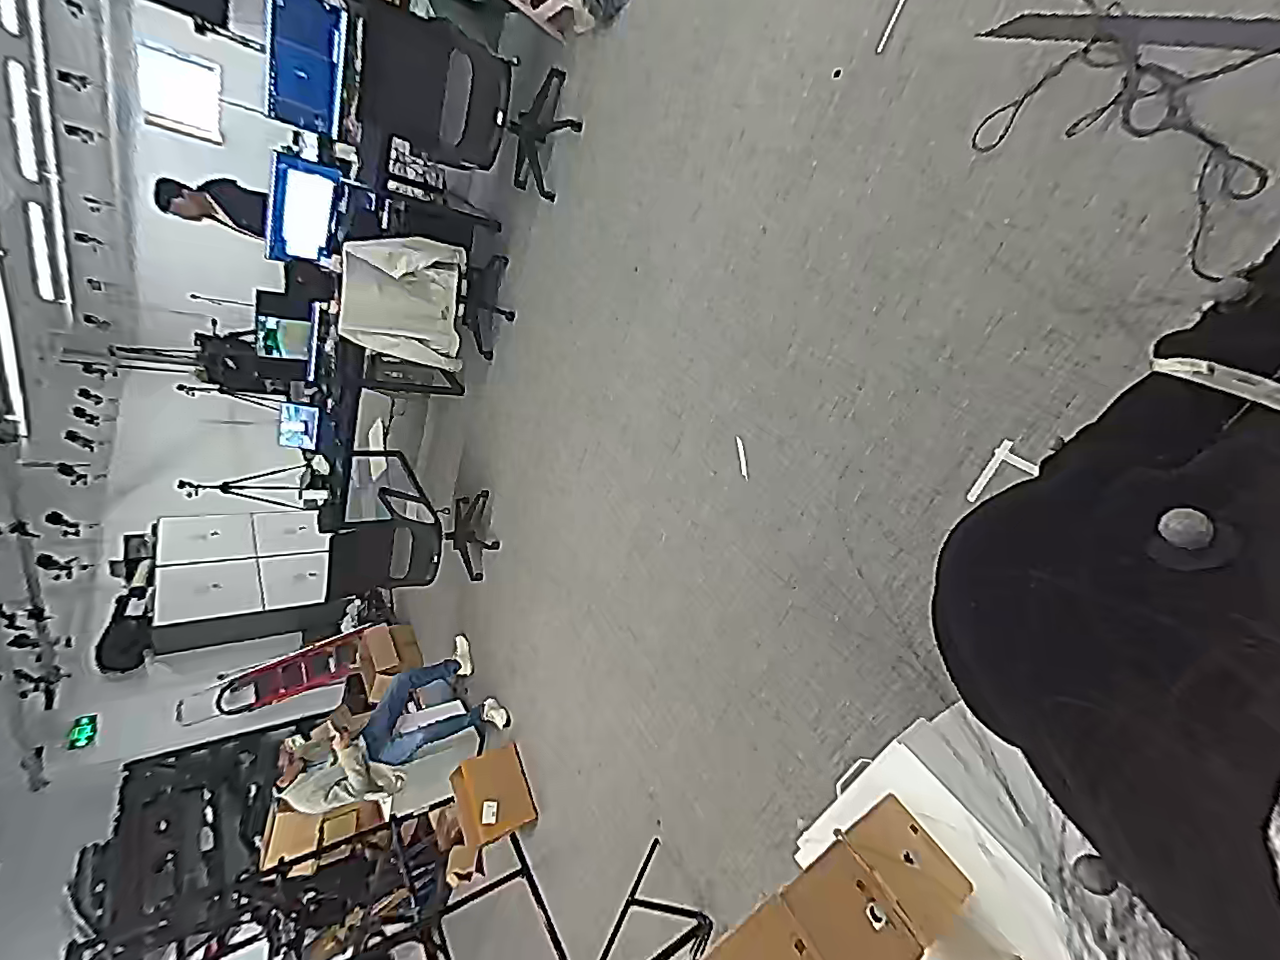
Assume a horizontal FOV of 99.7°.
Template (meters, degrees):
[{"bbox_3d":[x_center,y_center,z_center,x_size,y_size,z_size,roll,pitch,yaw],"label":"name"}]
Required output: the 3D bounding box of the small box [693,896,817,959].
[{"bbox_3d":[0.140,0.684,0.687,0.168,0.176,0.179,48,128,36],"label":"small box"}]

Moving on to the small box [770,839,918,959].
[{"bbox_3d":[0.267,0.680,0.793,0.168,0.176,0.179,47,125,37],"label":"small box"}]
